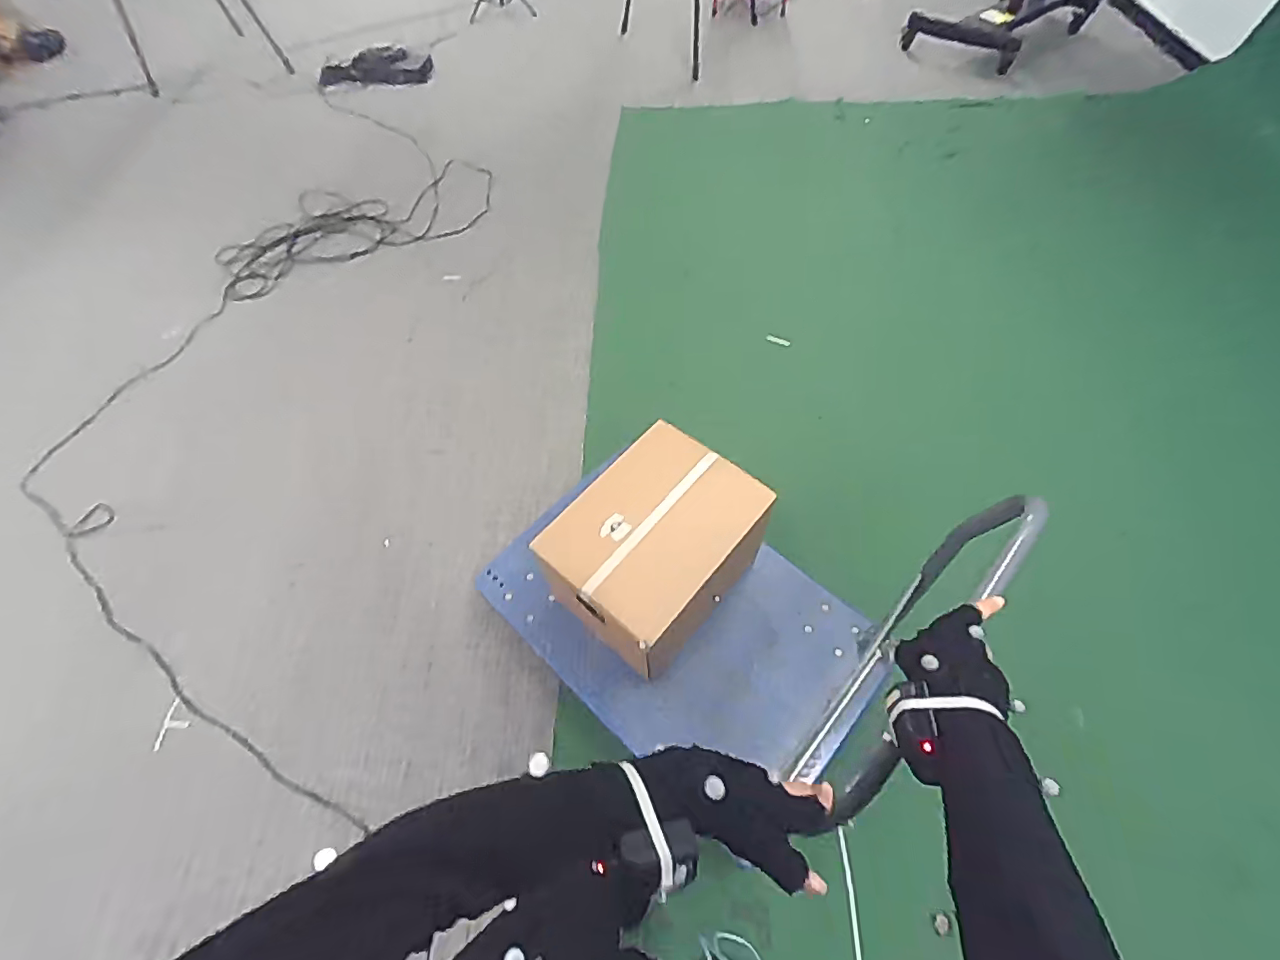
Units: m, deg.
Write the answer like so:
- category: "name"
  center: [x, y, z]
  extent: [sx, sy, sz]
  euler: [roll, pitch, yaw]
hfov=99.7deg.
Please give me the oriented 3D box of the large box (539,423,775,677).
- category: "large box"
  center: [0.046, 0.159, 1.210]
  extent: [0.320, 0.320, 0.408]
  euler: [35, 67, 22]
